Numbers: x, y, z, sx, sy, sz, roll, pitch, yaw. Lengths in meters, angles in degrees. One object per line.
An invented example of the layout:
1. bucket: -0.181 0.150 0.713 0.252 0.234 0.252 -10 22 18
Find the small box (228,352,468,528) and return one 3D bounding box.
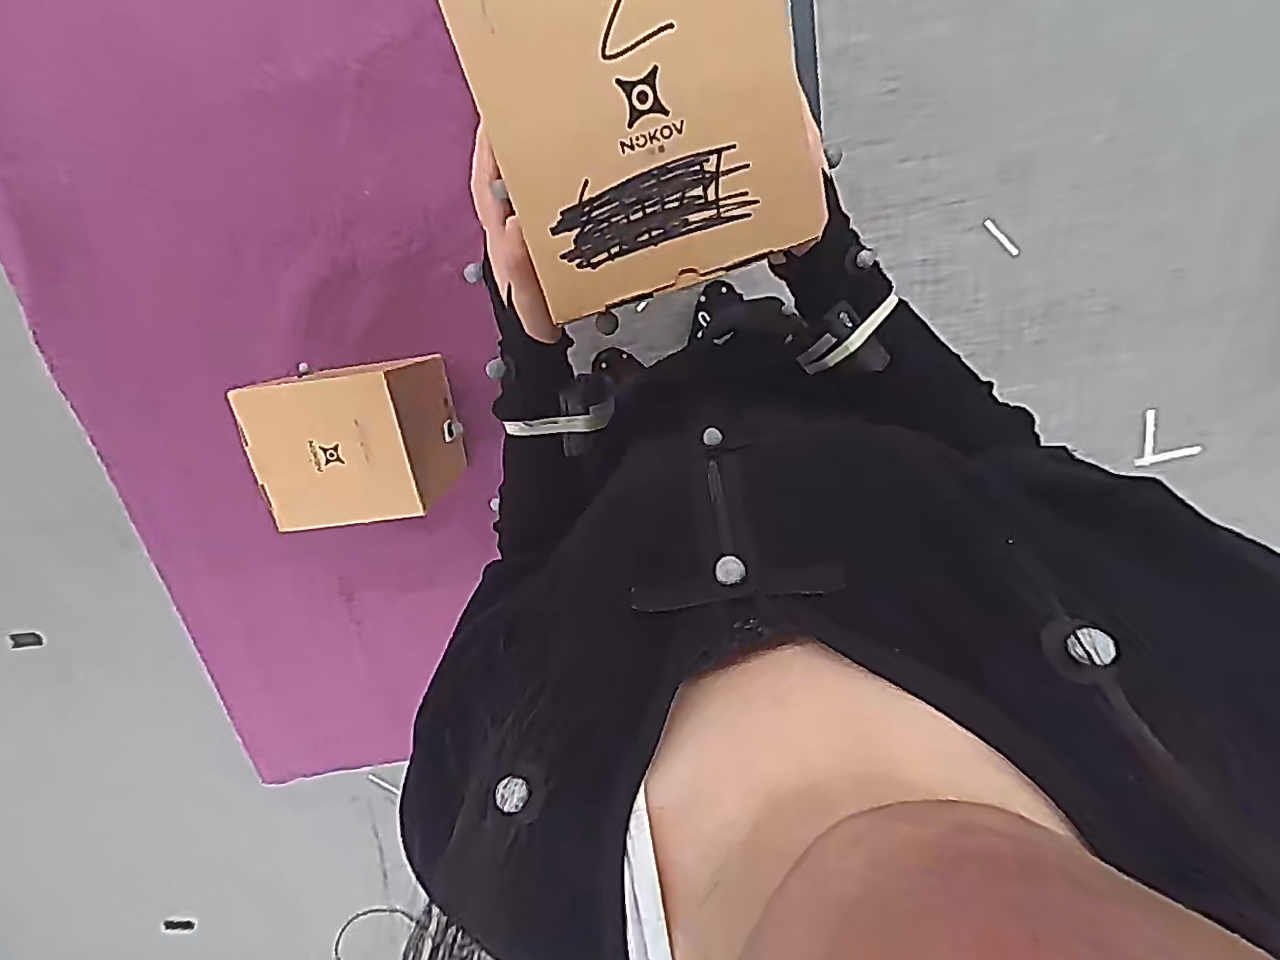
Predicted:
1. small box: -0.335 -0.057 0.660 0.179 0.176 0.168 -8 109 3
